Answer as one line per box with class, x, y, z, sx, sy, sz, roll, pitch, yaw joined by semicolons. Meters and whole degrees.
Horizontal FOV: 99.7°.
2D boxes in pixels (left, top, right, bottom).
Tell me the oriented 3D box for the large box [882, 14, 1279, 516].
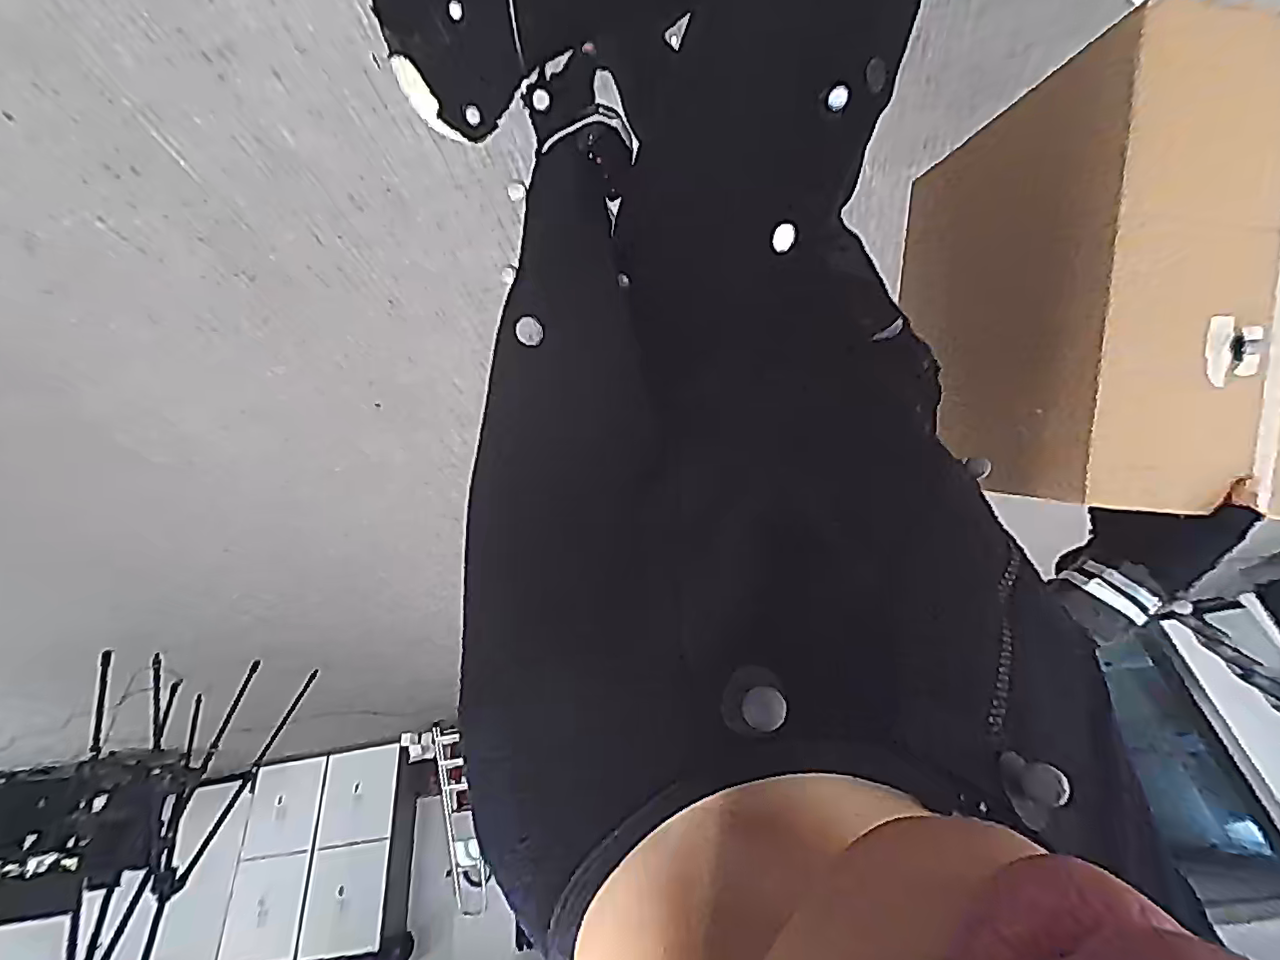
large box;0.508;-0.182;0.609;0.320;0.408;0.320;3;-176;-6
